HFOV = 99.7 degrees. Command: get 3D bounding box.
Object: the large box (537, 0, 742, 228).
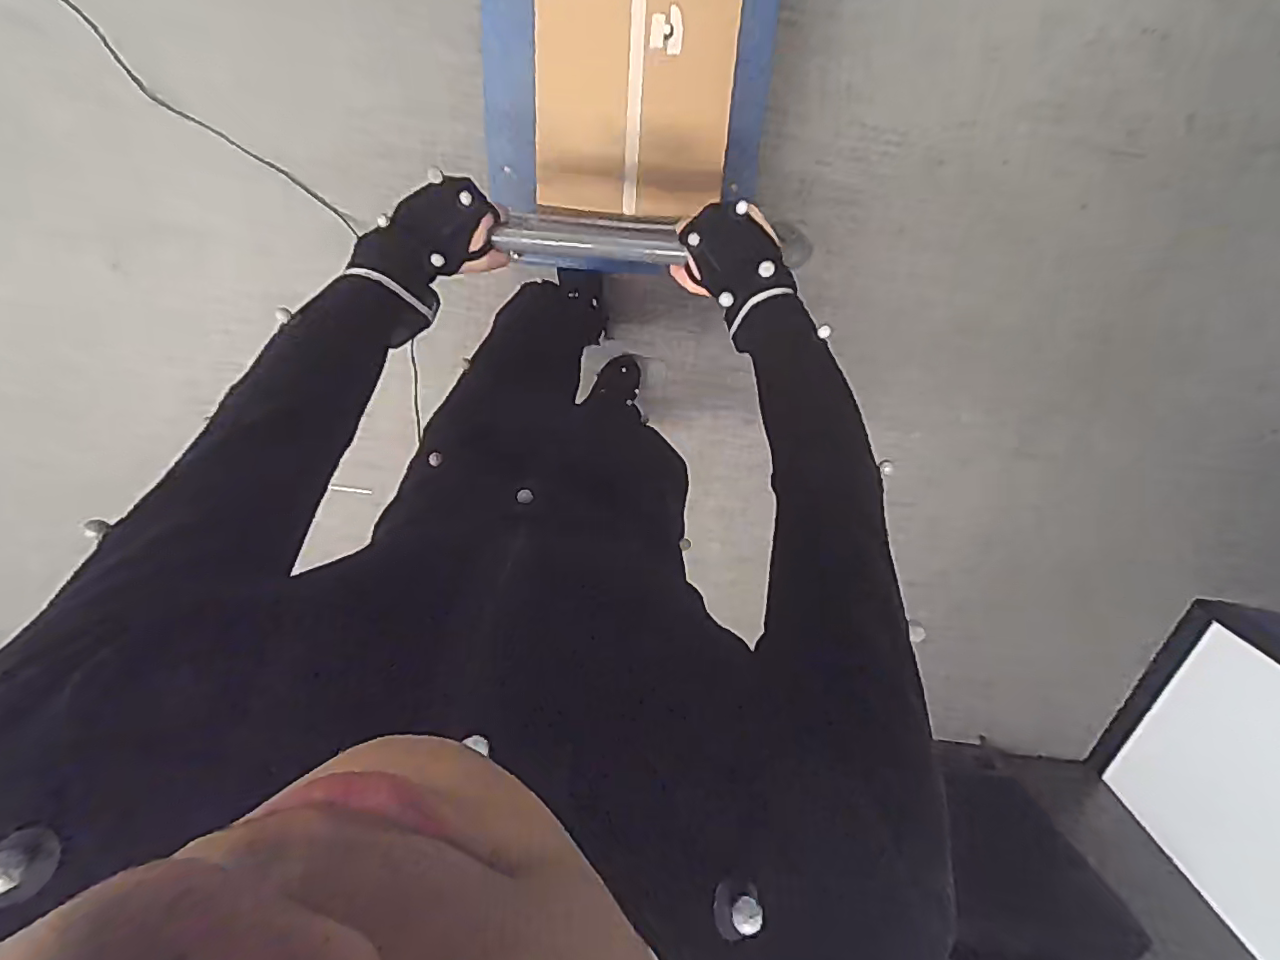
[{"bbox_3d":[-0.006,-0.690,0.989,0.320,0.320,0.408,3,114,-2],"label":"large box"}]
